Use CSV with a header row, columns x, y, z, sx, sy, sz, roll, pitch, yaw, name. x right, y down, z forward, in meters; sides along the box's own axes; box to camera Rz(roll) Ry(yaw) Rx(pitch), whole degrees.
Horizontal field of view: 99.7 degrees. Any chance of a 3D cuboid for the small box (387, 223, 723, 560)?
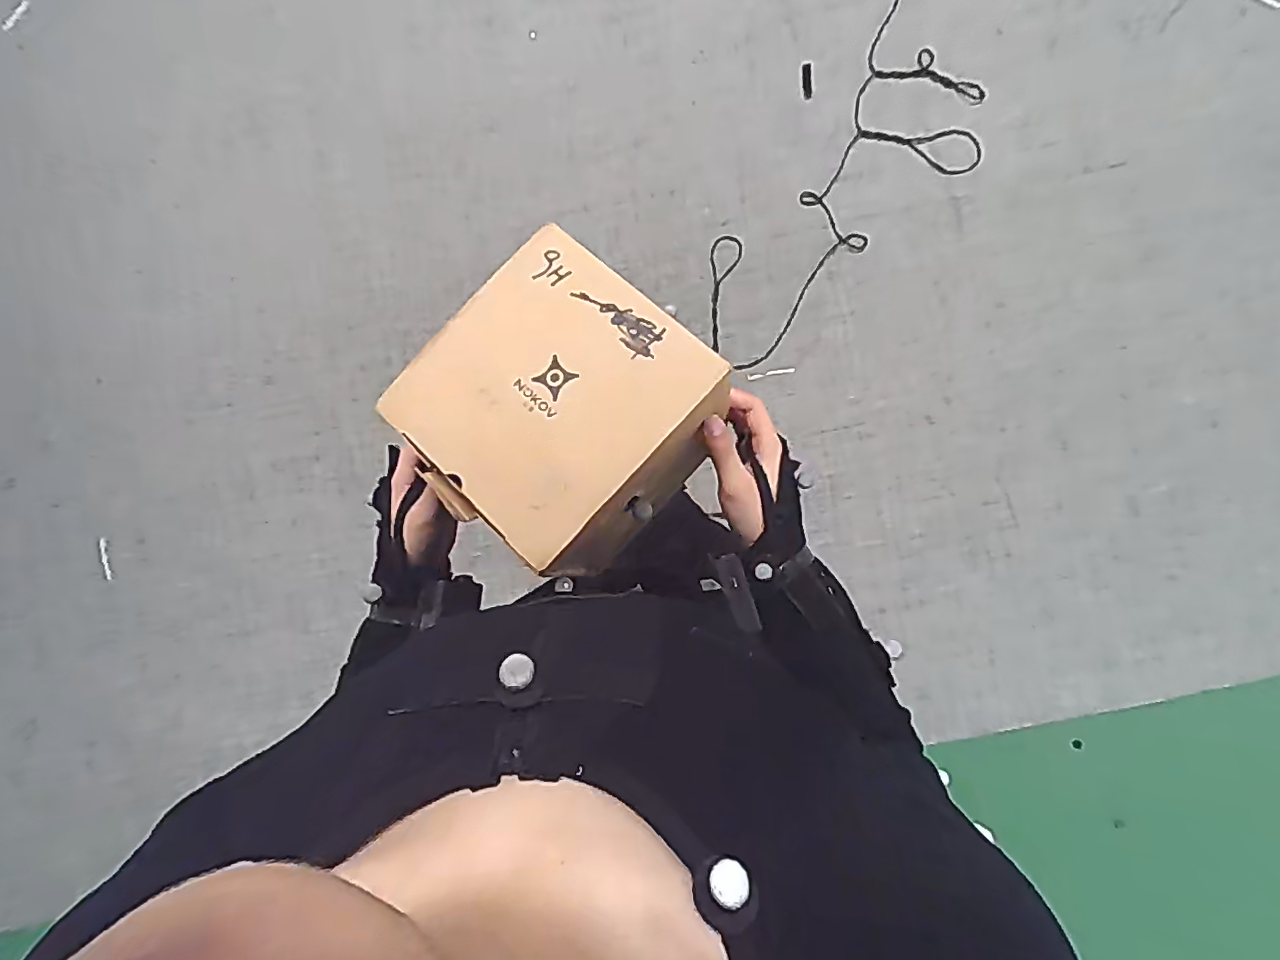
x,y,z,sx,sy,sz,roll,pitch,yaw,name
-0.048,-0.050,0.433,0.168,0.176,0.179,42,88,12,small box
